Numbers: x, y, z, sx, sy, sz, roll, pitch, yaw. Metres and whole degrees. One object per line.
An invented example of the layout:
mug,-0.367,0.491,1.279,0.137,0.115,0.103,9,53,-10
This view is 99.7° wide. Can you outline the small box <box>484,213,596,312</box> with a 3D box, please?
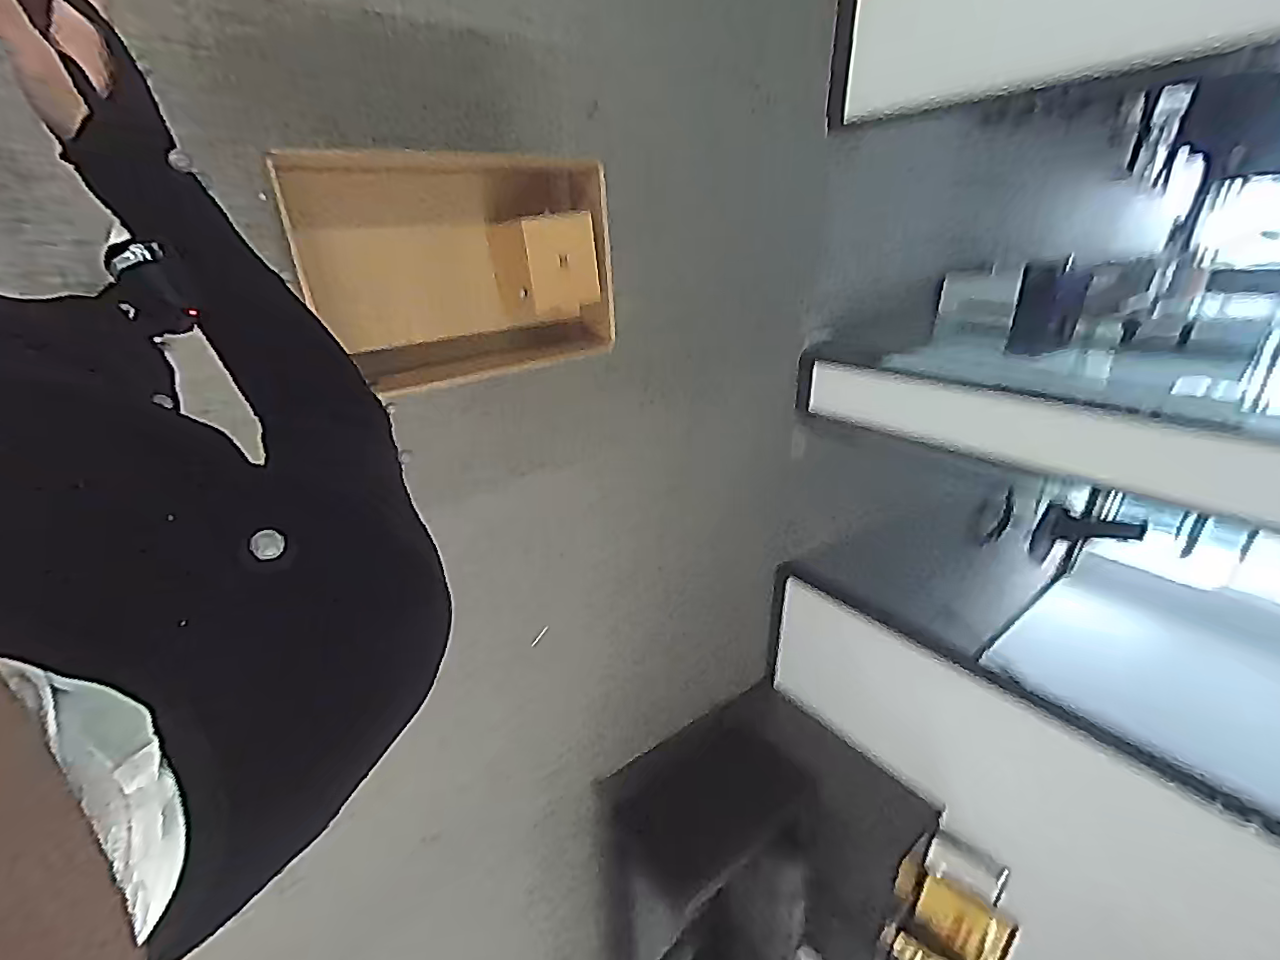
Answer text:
small box,-0.217,-0.471,1.168,0.168,0.176,0.179,-24,123,-32
